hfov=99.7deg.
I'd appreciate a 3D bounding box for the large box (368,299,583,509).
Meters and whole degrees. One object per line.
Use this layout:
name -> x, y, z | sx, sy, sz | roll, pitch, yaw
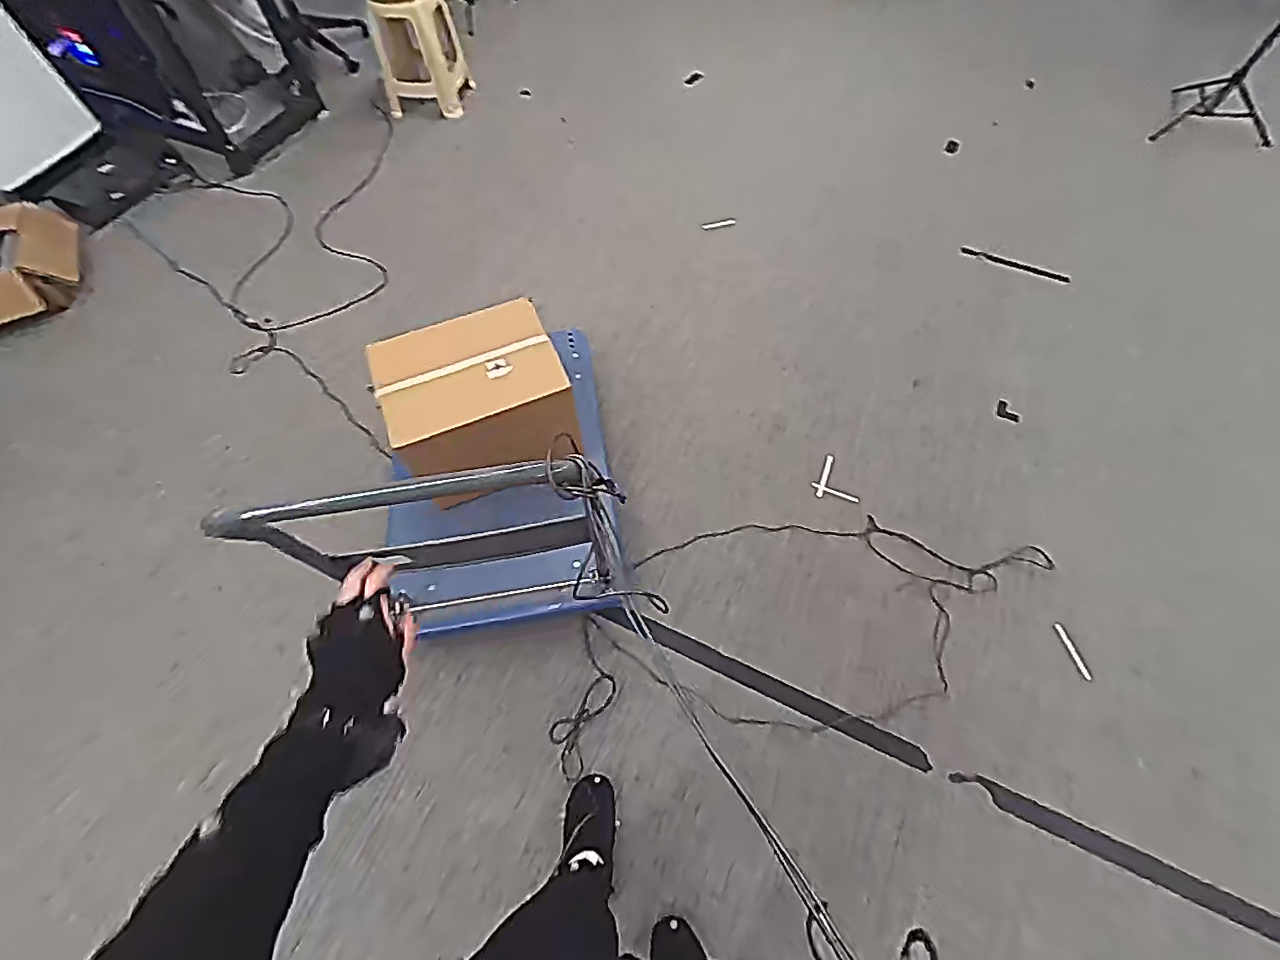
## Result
large box -> -0.394, -0.183, 1.359 | 0.408, 0.320, 0.320 | -21, 64, -11
